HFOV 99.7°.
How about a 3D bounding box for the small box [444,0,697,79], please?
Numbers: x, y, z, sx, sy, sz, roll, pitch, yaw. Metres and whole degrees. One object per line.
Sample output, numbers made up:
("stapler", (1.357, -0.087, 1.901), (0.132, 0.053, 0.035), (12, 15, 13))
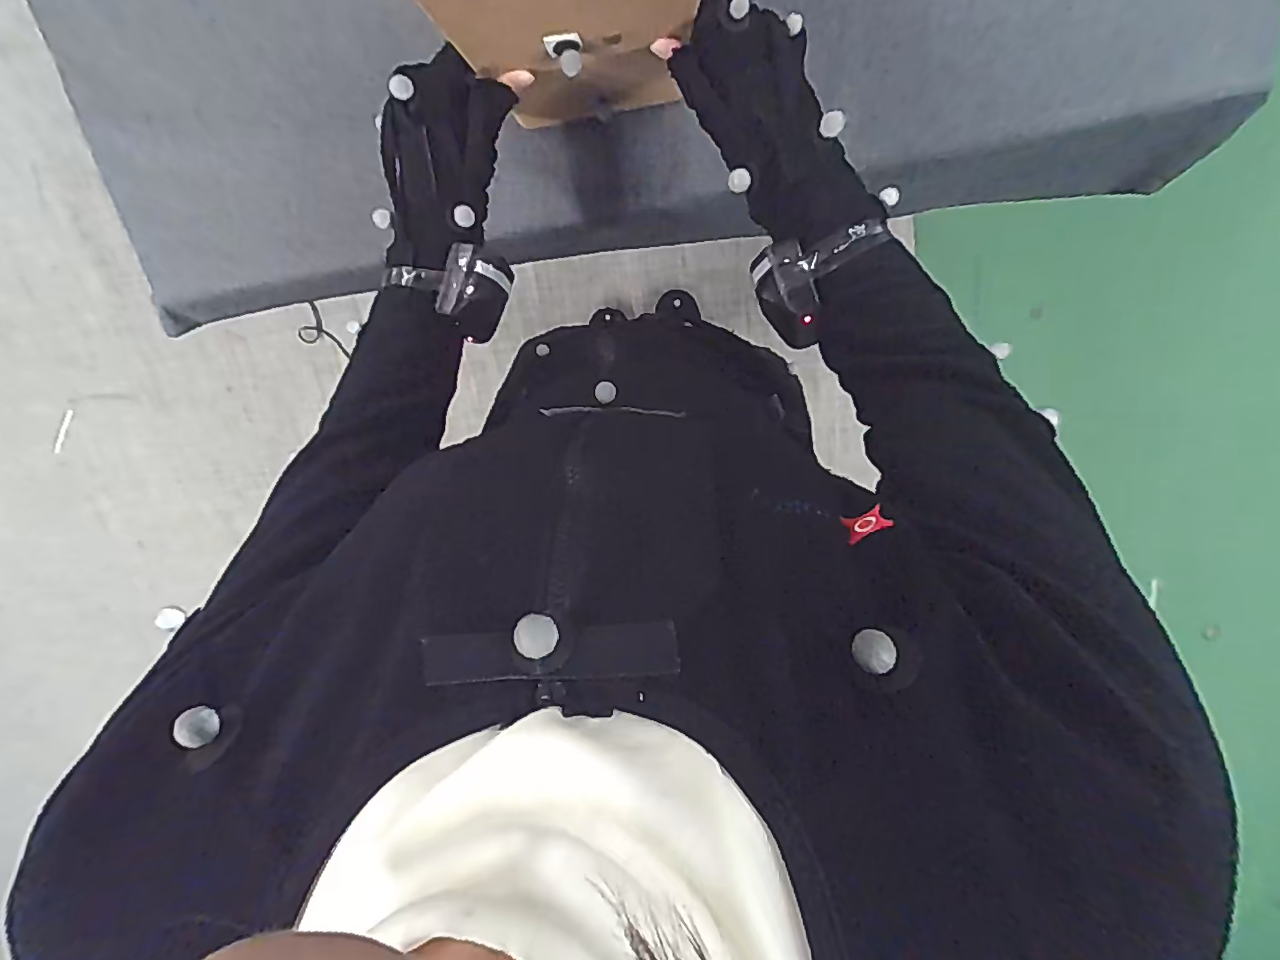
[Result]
("small box", (-0.057, -0.378, 0.311), (0.168, 0.176, 0.179), (-10, 109, 6))

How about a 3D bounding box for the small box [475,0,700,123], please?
("small box", (-0.052, -0.436, 0.463), (0.179, 0.176, 0.168), (-9, 108, 4))
